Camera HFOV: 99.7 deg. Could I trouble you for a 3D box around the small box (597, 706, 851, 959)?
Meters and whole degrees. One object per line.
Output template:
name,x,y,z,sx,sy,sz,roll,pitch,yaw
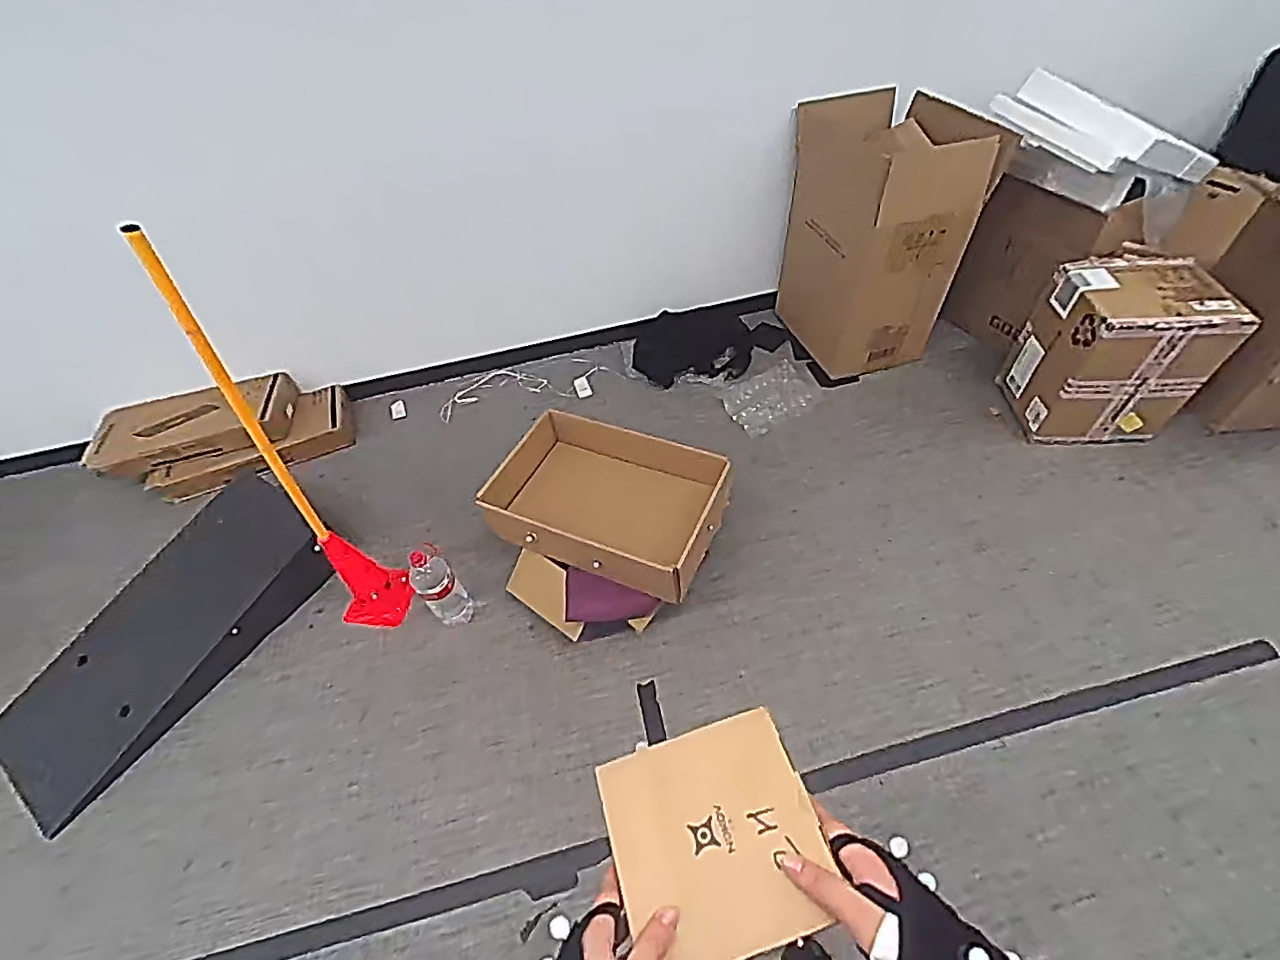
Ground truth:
small box,0.074,0.350,0.522,0.179,0.176,0.168,-18,51,-5
